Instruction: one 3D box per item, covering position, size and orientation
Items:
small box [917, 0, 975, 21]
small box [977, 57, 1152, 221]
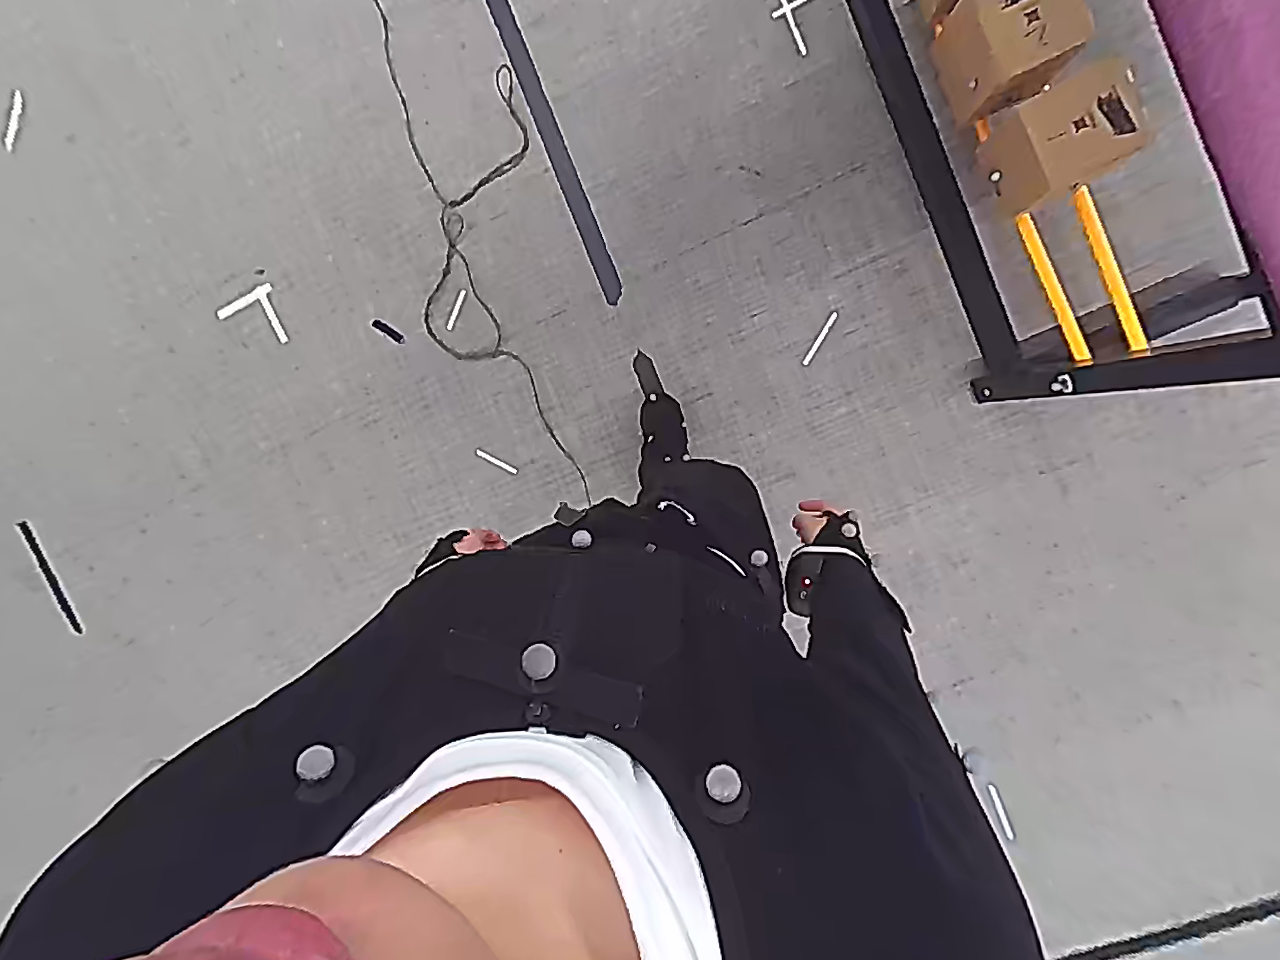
[{"bbox_3d":[0.620,-1.022,1.001,0.179,0.176,0.168,-22,94,10],"label":"small box"},{"bbox_3d":[0.789,-0.631,1.025,0.179,0.176,0.168,-24,92,11],"label":"small box"}]
